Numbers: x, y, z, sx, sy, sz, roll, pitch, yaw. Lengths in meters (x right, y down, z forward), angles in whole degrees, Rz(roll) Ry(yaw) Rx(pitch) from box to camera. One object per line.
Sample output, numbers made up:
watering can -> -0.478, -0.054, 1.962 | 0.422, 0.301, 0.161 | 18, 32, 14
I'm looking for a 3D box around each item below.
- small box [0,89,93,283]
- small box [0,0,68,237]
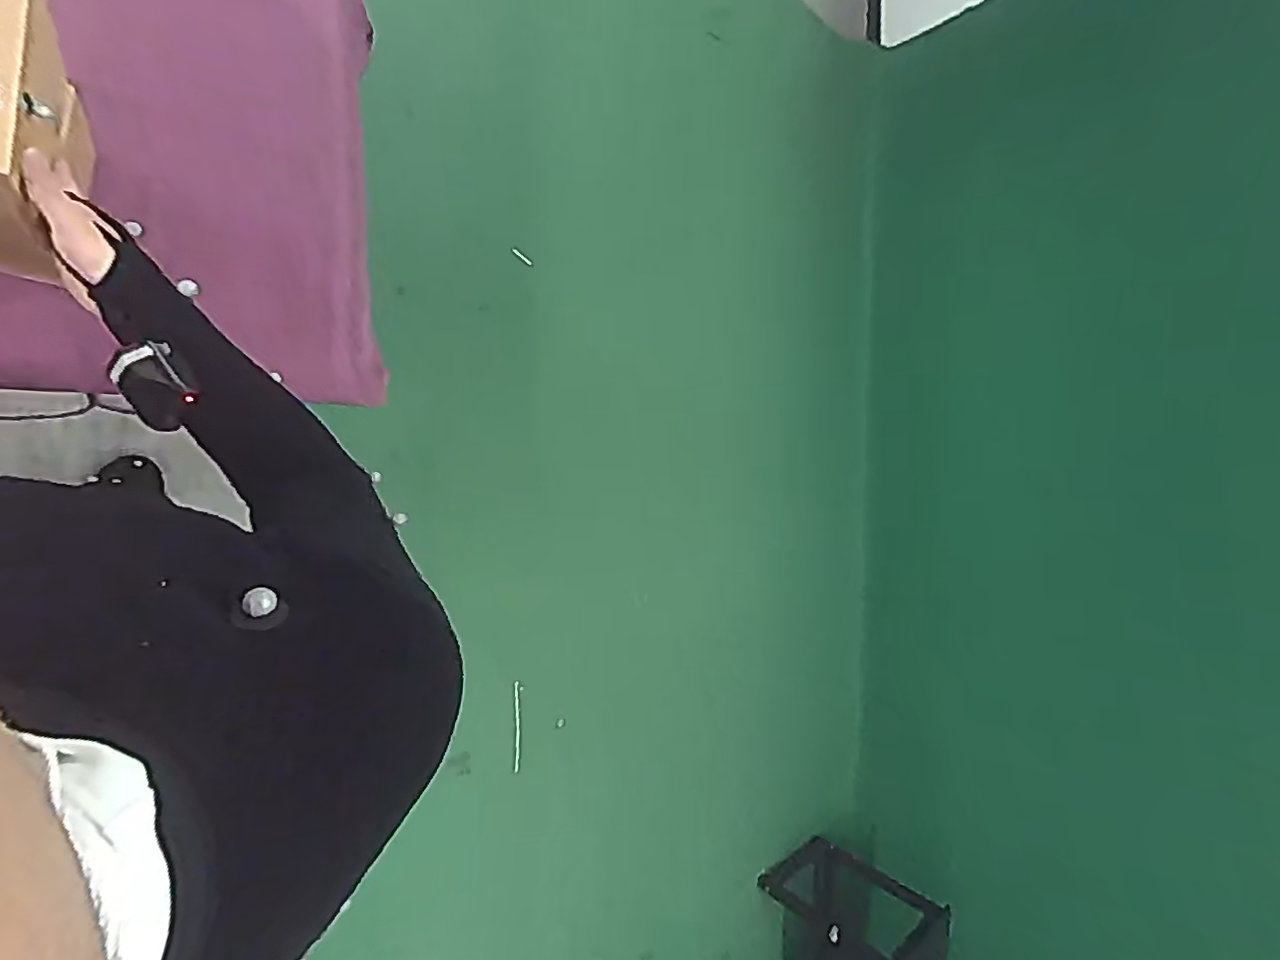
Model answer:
small box -> -0.680, -0.312, 0.528 | 0.179, 0.176, 0.168 | 10, 86, -41
small box -> -0.568, -0.306, 0.397 | 0.179, 0.176, 0.168 | 6, 88, -41
